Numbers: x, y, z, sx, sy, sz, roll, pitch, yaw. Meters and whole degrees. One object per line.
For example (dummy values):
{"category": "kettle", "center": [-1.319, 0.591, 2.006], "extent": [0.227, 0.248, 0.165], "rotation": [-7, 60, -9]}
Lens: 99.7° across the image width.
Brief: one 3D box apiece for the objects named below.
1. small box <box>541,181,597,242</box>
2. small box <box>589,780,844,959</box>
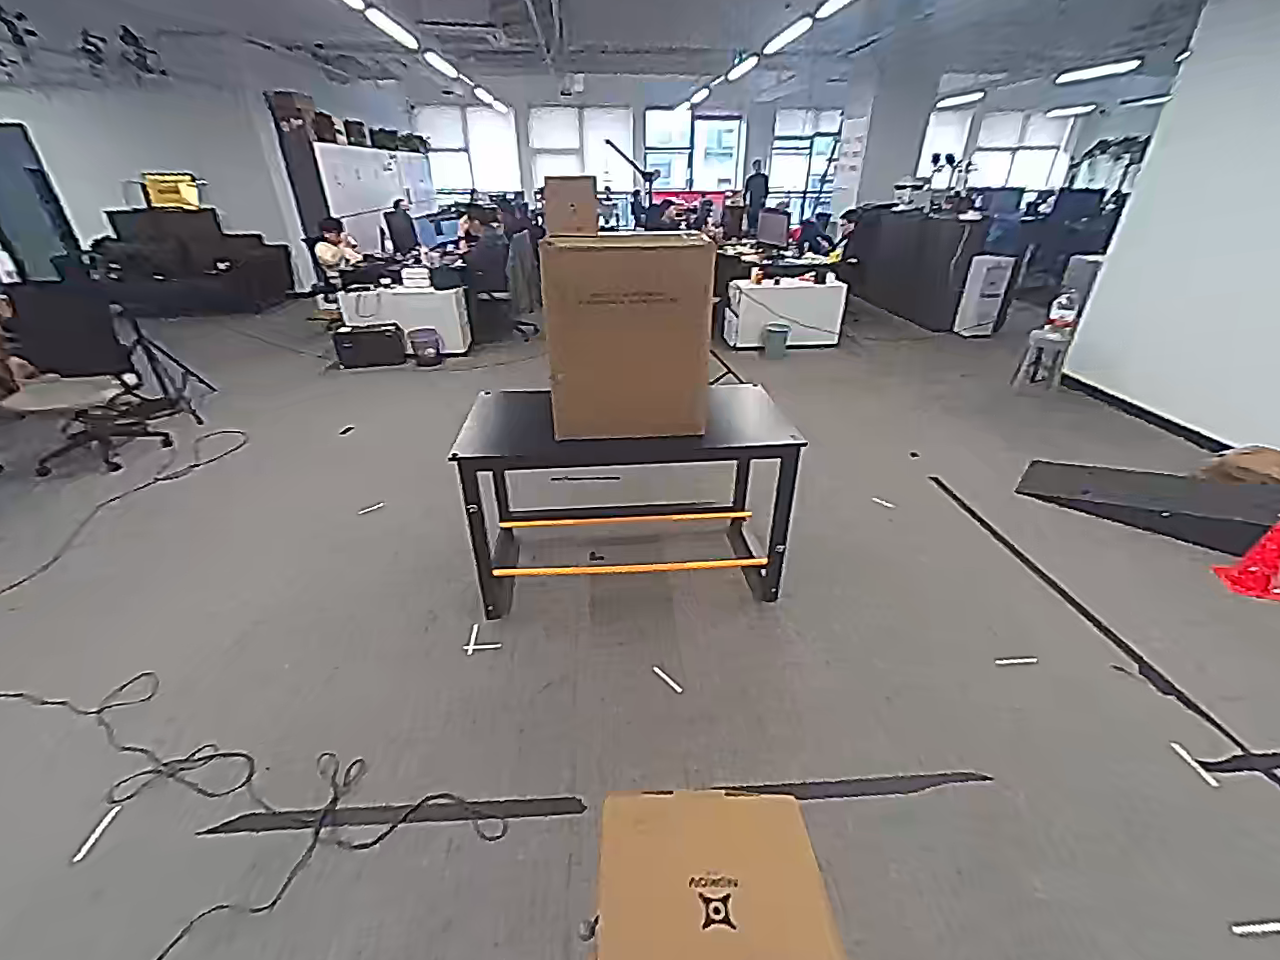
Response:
{"category": "small box", "center": [-0.224, -0.871, 1.752], "extent": [0.168, 0.176, 0.179], "rotation": [-1, 28, -5]}
{"category": "small box", "center": [0.045, 0.368, 0.415], "extent": [0.168, 0.176, 0.179], "rotation": [3, 22, -3]}
